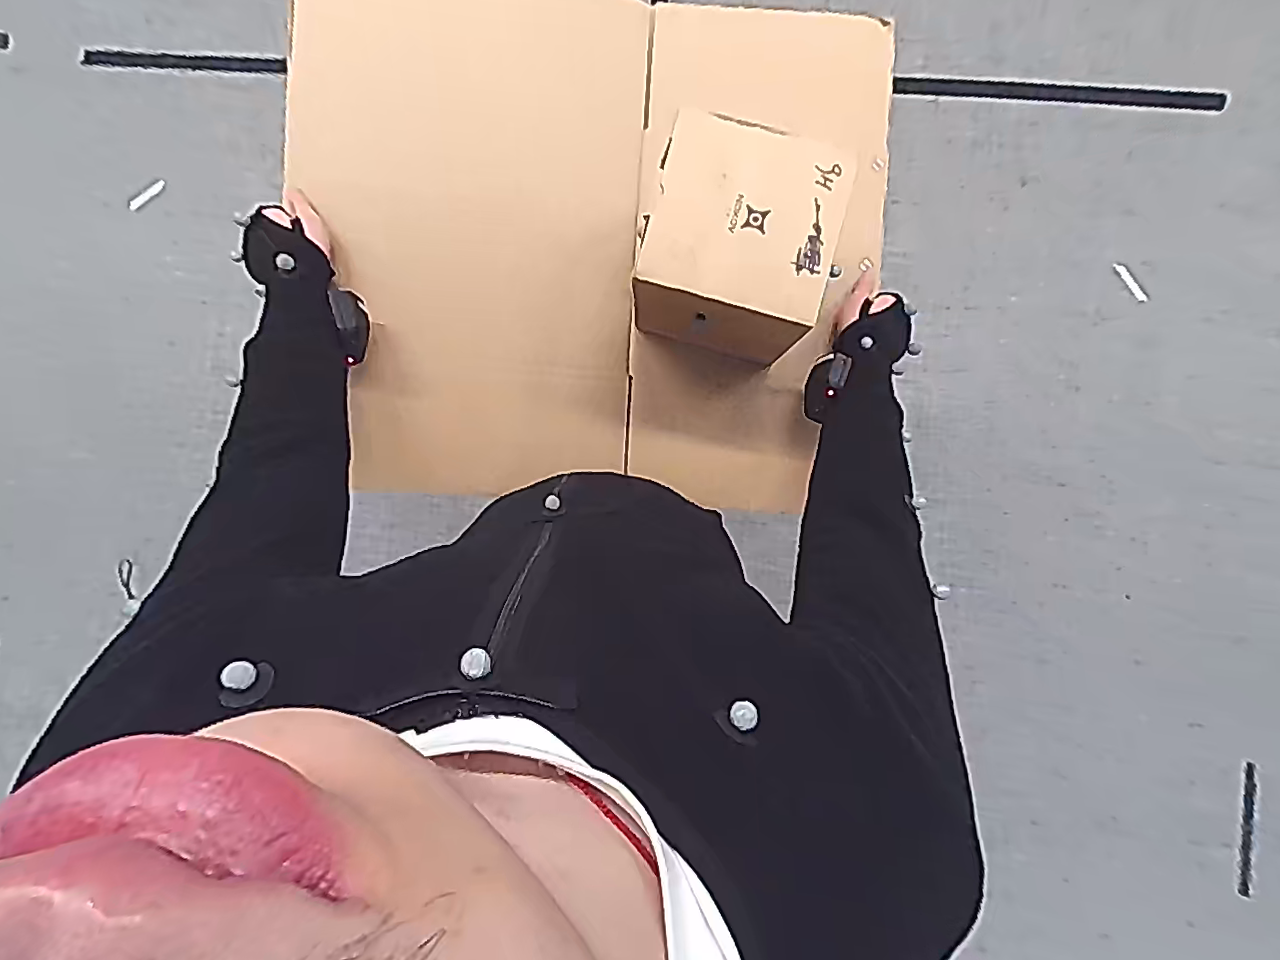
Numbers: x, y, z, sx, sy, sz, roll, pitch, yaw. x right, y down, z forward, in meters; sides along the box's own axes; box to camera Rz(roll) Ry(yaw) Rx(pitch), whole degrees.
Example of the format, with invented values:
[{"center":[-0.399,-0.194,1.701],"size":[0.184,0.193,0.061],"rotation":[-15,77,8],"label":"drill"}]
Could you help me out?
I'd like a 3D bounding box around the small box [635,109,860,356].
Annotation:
[{"center":[0.102,-0.246,0.581],"size":[0.179,0.176,0.168],"rotation":[16,91,1],"label":"small box"}]
